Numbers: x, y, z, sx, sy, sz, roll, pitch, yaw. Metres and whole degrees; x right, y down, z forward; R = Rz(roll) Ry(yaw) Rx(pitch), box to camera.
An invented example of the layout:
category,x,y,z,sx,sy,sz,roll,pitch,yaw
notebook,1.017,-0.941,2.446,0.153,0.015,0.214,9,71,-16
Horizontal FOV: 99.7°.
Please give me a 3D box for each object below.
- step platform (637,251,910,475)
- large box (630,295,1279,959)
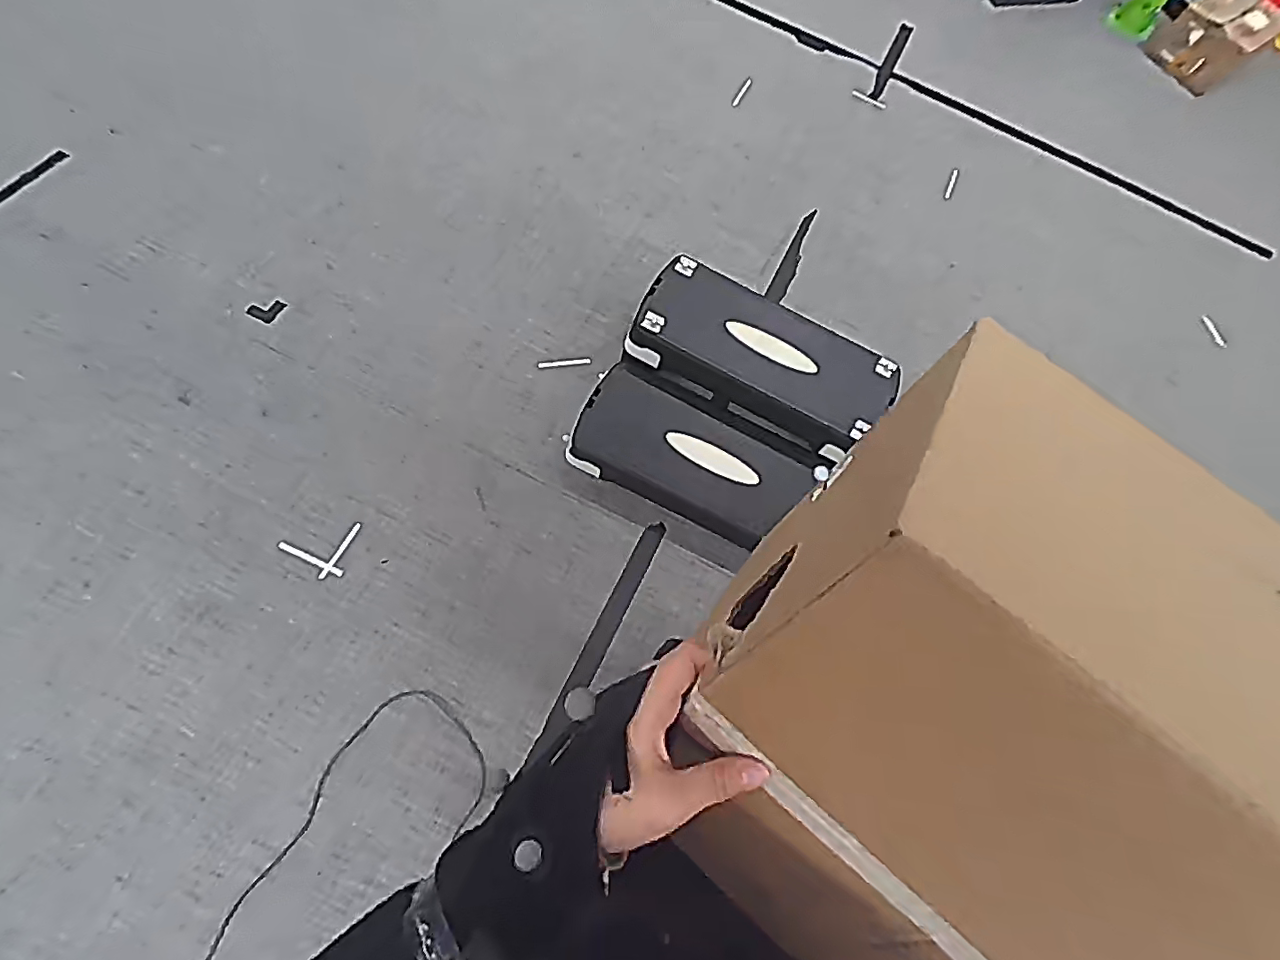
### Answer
category,x,y,z,sx,sy,sz,roll,pitch,yaw
step platform,0.337,-0.294,1.392,0.684,0.204,0.286,33,69,3
large box,0.274,0.143,0.356,0.408,0.320,0.320,40,45,9
